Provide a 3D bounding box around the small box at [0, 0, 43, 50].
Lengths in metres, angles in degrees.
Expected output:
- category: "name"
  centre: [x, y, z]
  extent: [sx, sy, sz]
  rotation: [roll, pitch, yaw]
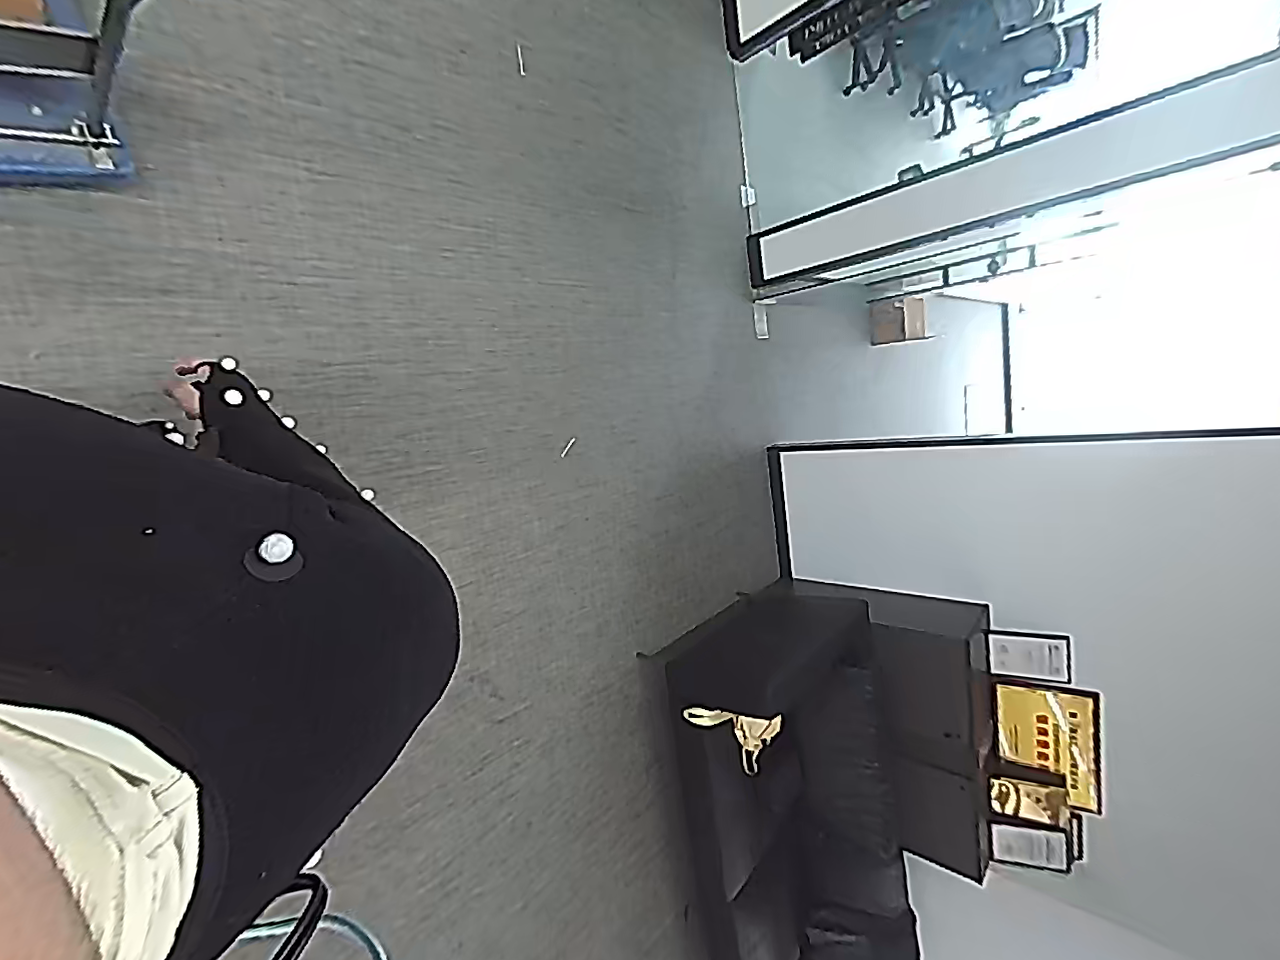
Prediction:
- category: "small box"
  centre: [-1.123, -0.857, 0.877]
  extent: [0.168, 0.176, 0.179]
  rotation: [-24, 109, -44]
